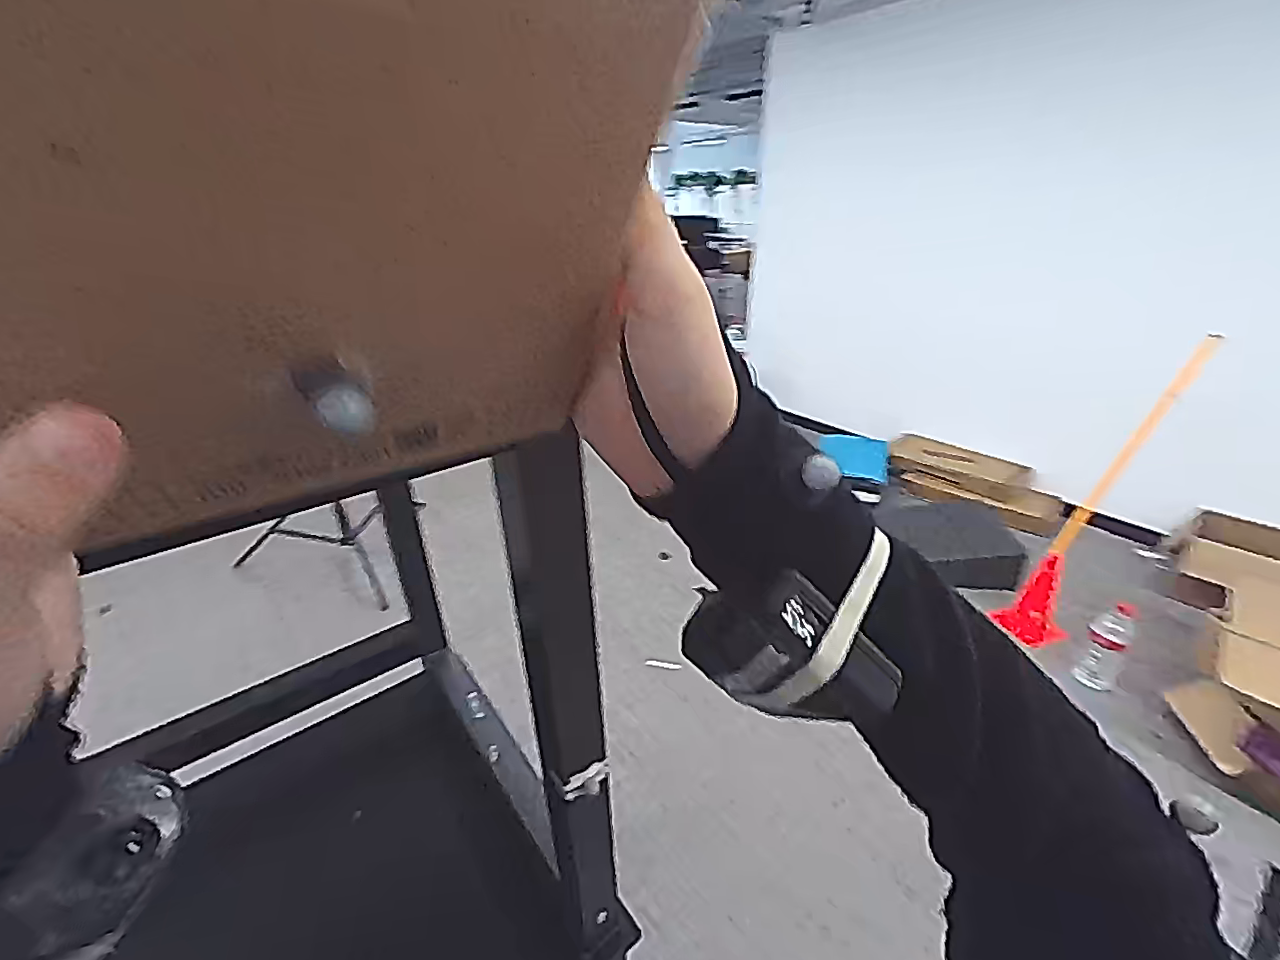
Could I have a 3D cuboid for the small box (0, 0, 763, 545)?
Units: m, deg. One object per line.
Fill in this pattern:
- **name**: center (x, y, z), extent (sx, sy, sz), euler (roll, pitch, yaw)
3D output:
- **small box**: center (-0.105, -0.108, 0.156), extent (0.168, 0.176, 0.179), euler (-18, 70, -28)
